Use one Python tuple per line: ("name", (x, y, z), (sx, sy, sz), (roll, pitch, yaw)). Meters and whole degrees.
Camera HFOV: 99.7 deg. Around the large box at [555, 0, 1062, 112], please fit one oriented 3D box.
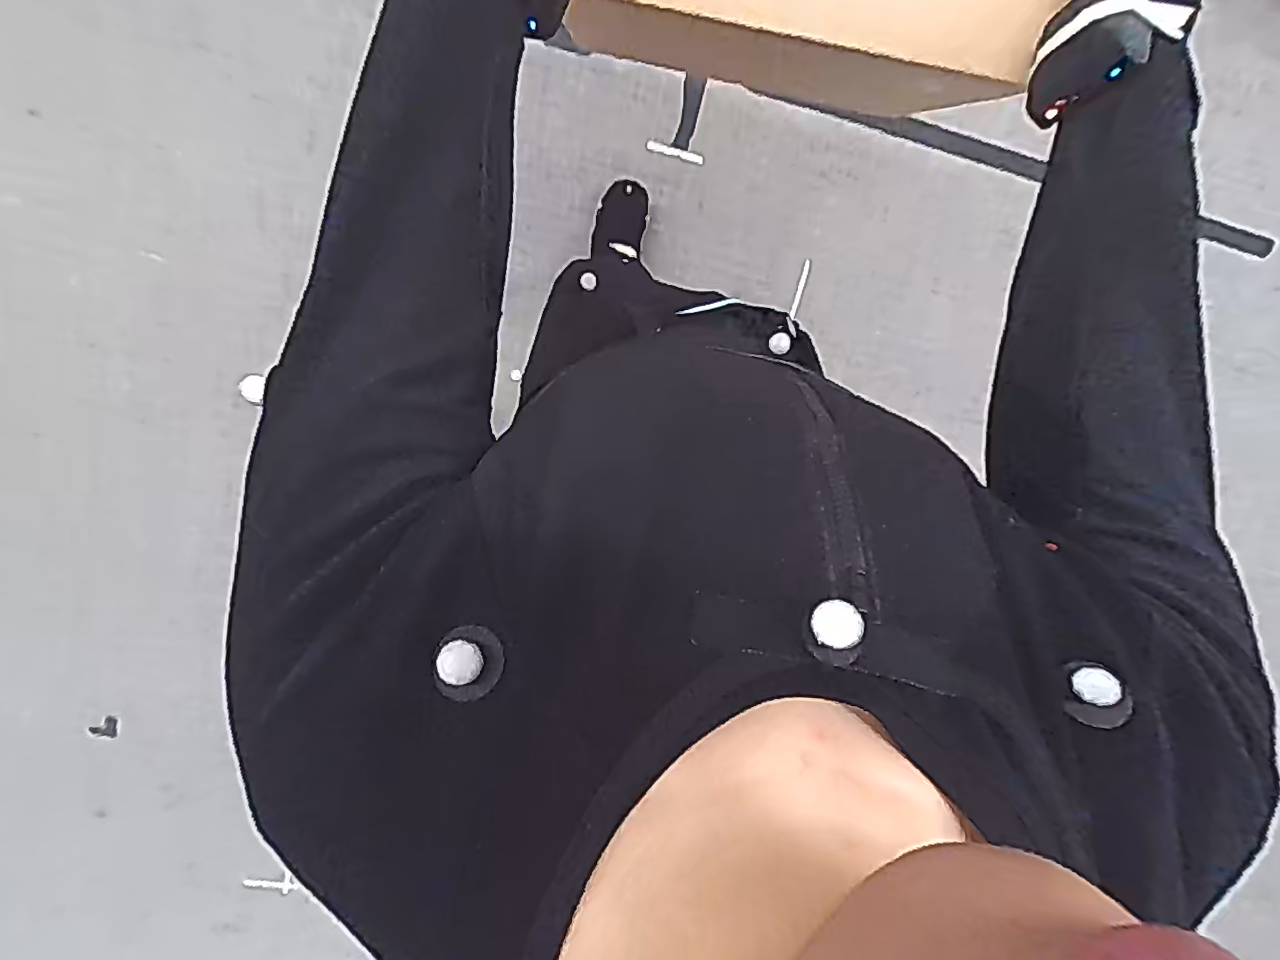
("large box", (0.143, -0.553, 0.478), (0.408, 0.320, 0.320), (8, 121, -5))
